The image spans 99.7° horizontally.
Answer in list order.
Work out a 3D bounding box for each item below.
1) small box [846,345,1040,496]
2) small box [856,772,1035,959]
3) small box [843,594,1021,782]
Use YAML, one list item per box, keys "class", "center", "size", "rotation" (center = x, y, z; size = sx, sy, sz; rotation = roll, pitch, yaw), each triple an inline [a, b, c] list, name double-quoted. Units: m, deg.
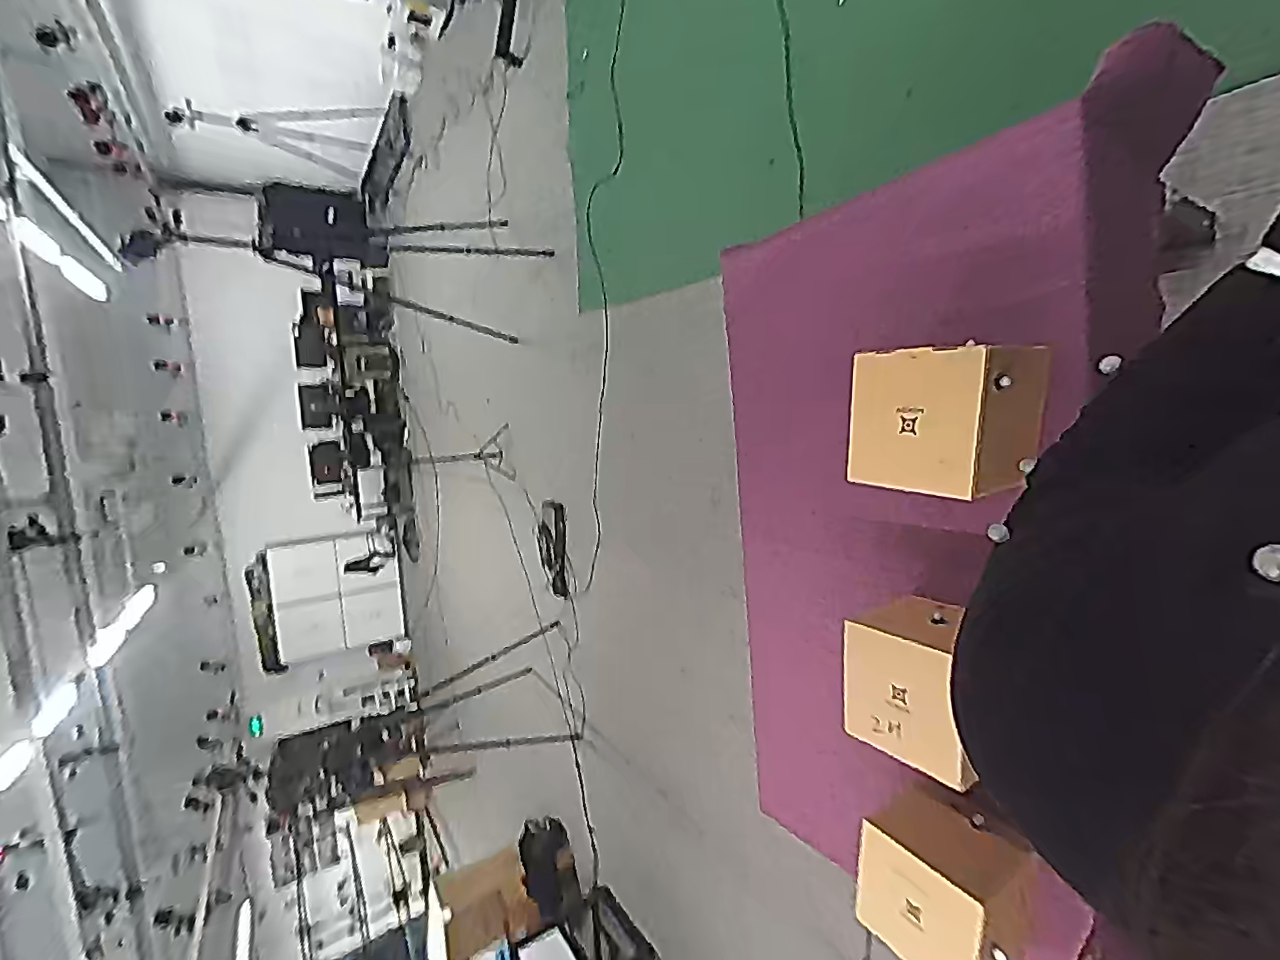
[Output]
- class: "small box"
  center: [0.400, -0.086, 0.720]
  size: [0.168, 0.176, 0.179]
  rotation: [14, 107, 55]
- class: "small box"
  center: [0.442, 0.574, 0.788]
  size: [0.168, 0.176, 0.179]
  rotation: [15, 107, 54]
- class: "small box"
  center: [0.413, 0.276, 0.769]
  size: [0.168, 0.176, 0.179]
  rotation: [8, 103, 56]
